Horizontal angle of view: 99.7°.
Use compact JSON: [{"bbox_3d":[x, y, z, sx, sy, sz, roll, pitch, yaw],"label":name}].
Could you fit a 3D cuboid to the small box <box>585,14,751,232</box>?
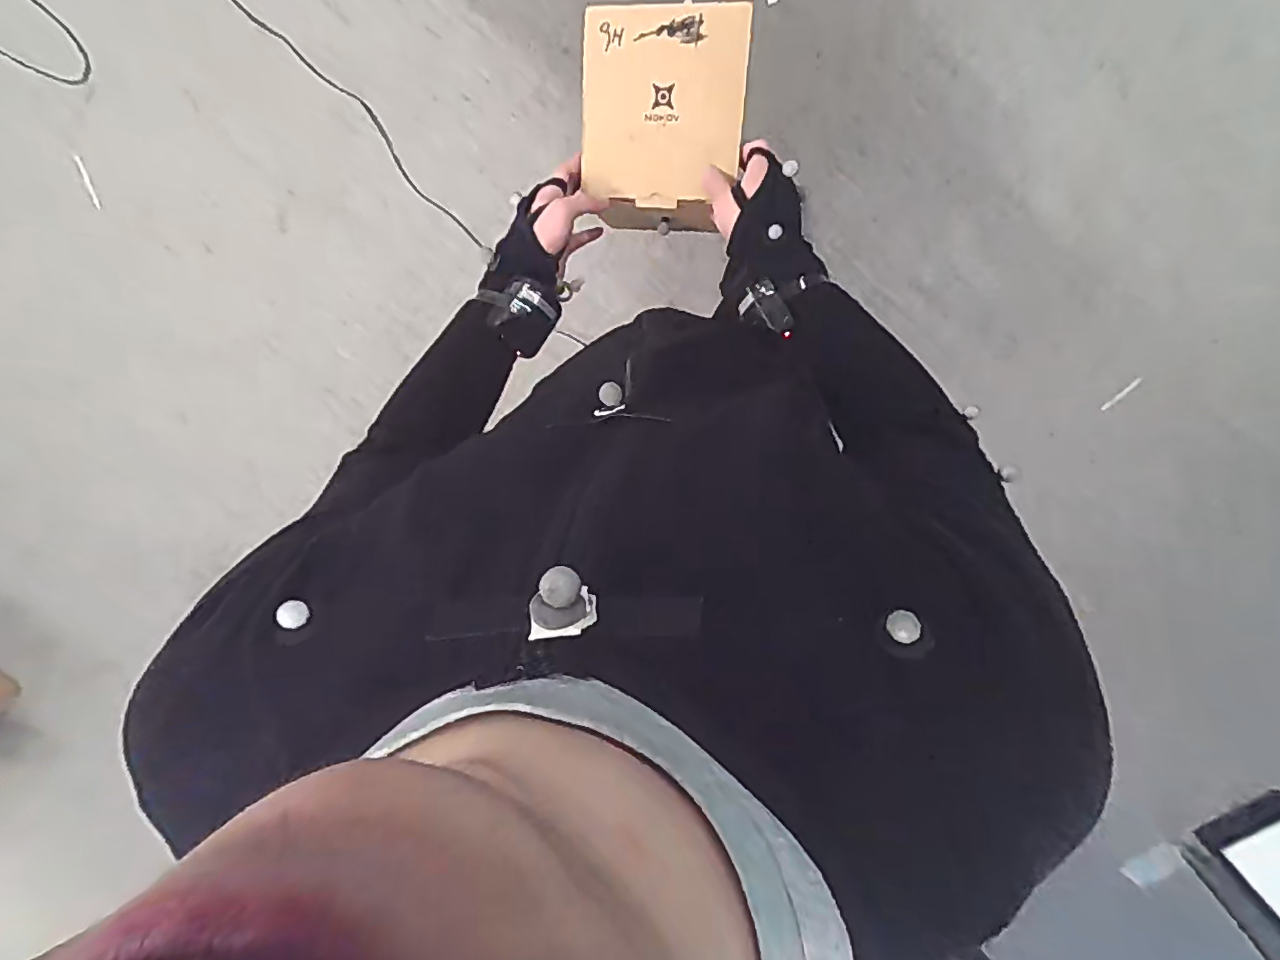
[{"bbox_3d":[0.037,-0.395,0.631,0.168,0.176,0.179,5,106,8],"label":"small box"}]
